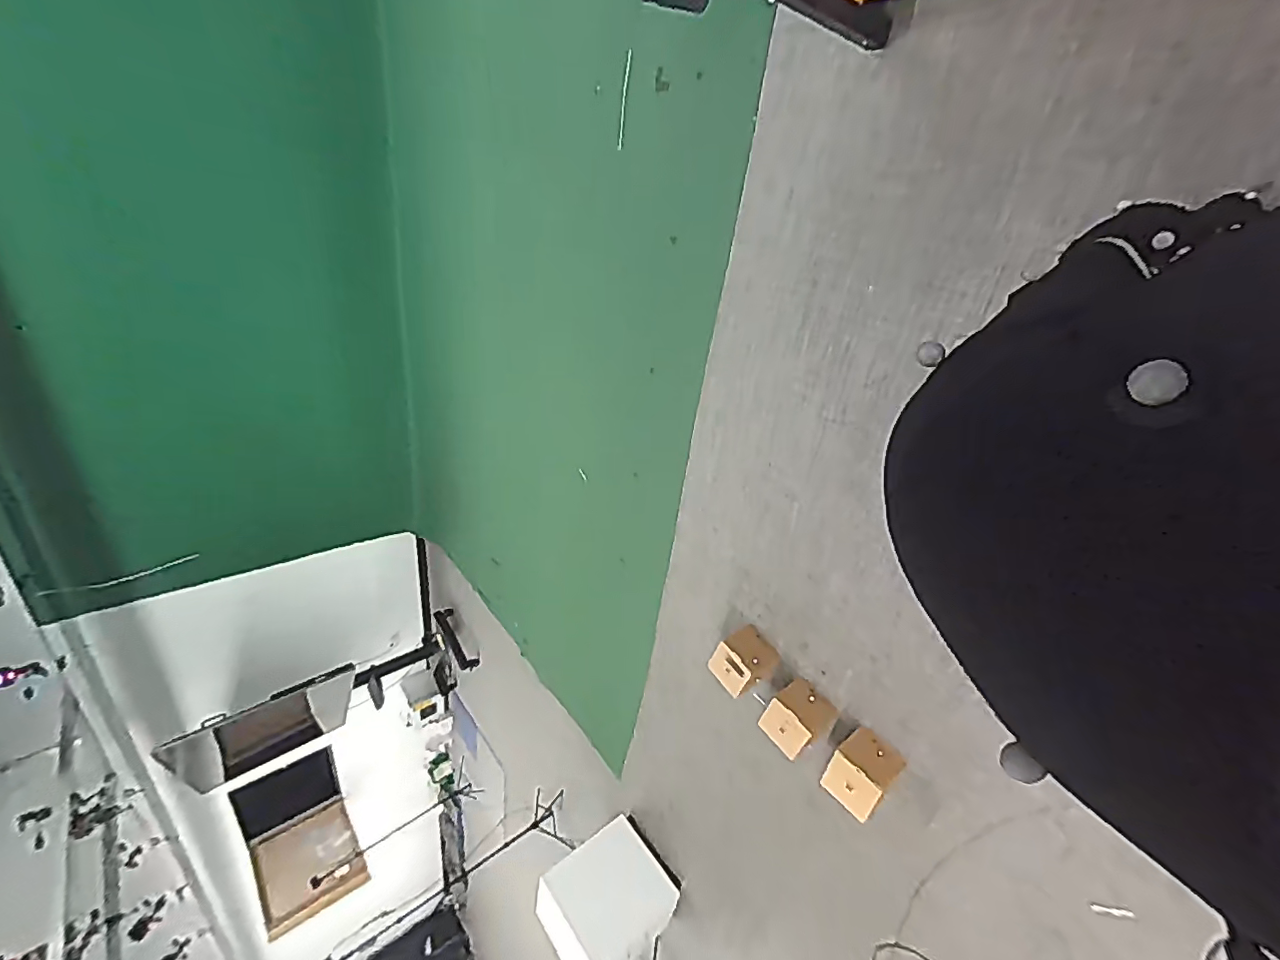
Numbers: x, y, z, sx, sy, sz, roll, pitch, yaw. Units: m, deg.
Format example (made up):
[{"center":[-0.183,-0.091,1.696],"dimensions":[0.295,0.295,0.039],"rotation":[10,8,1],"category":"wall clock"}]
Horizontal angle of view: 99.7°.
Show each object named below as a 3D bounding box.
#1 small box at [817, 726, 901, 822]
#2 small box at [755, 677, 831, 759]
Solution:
[{"center":[0.711,0.946,1.752],"dimensions":[0.168,0.176,0.179],"rotation":[35,126,39],"category":"small box"},{"center":[0.545,0.840,1.916],"dimensions":[0.168,0.176,0.179],"rotation":[42,130,34],"category":"small box"}]
